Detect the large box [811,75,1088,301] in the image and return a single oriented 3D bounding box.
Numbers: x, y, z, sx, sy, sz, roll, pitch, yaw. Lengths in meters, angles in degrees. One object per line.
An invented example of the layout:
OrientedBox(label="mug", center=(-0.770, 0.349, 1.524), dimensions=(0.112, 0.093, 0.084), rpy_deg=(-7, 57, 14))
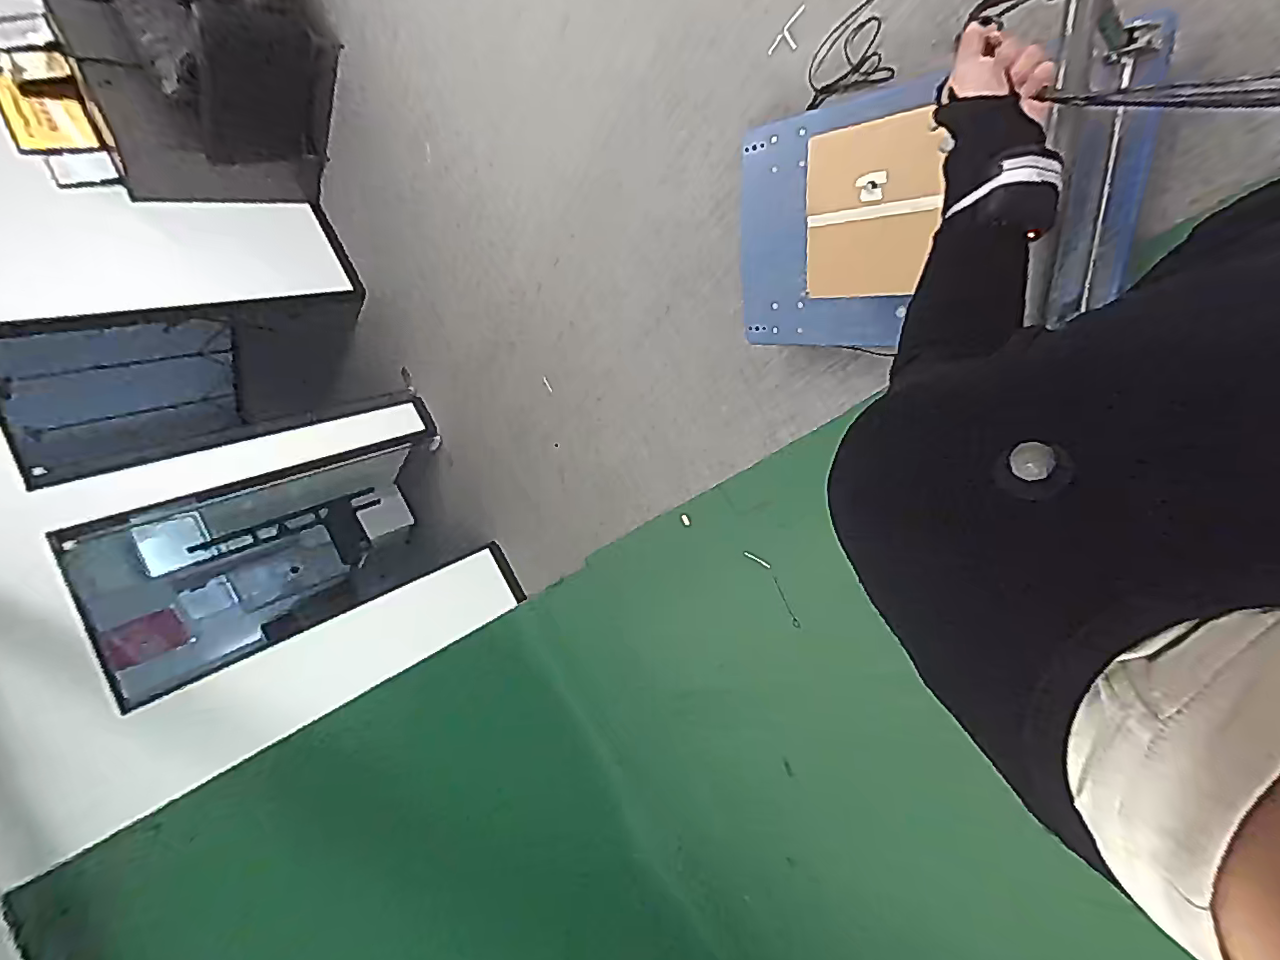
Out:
OrientedBox(label="large box", center=(0.608, -0.551, 1.093), dimensions=(0.408, 0.320, 0.320), rpy_deg=(15, 118, 44))
